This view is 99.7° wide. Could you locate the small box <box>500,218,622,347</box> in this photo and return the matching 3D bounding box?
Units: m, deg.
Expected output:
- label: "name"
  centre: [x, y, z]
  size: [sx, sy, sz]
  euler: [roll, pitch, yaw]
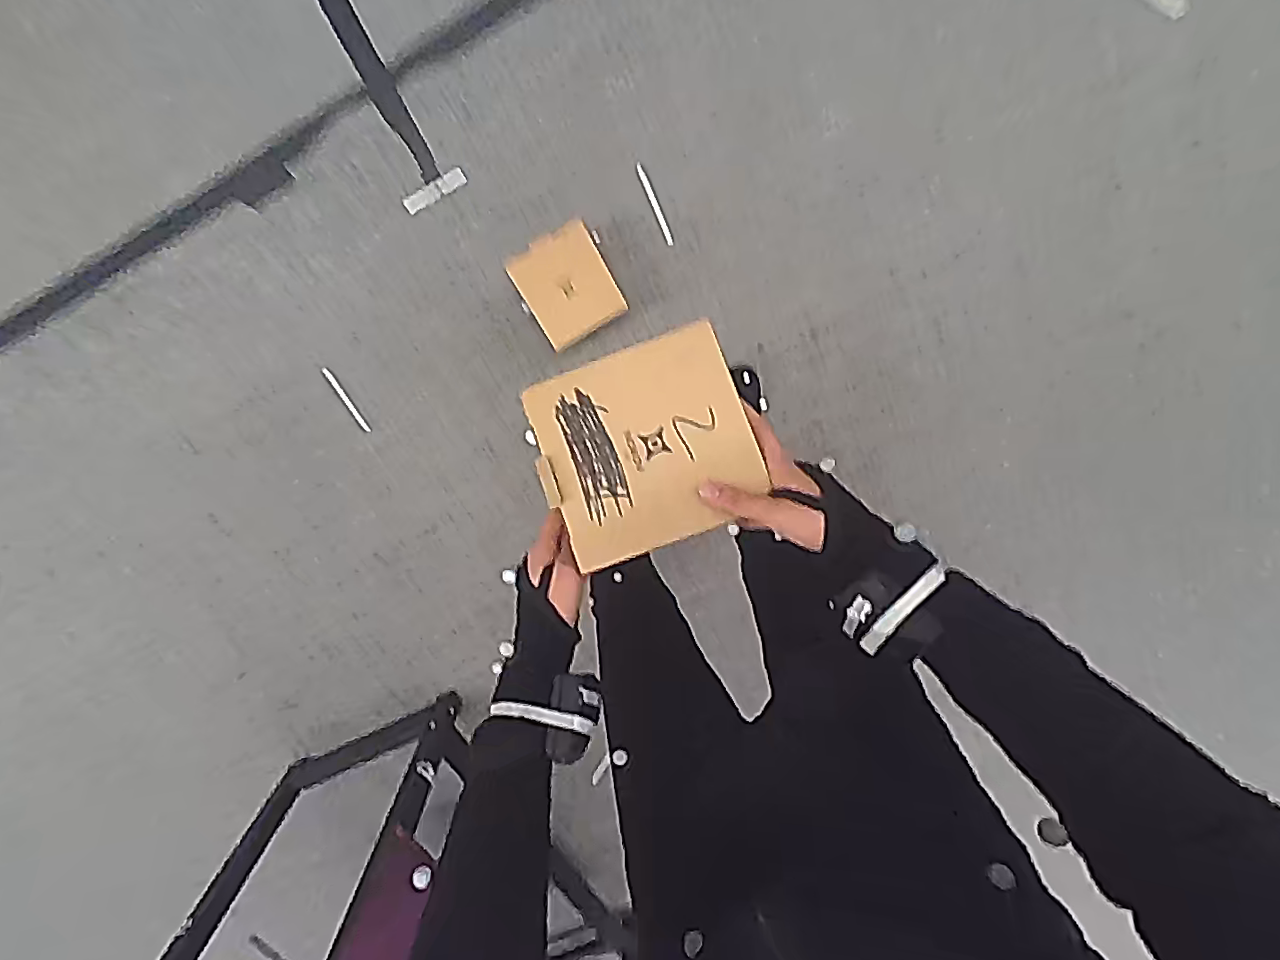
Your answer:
- label: "small box"
  centre: [-0.146, -0.390, 1.069]
  size: [0.168, 0.176, 0.179]
  euler: [-30, 110, 8]
